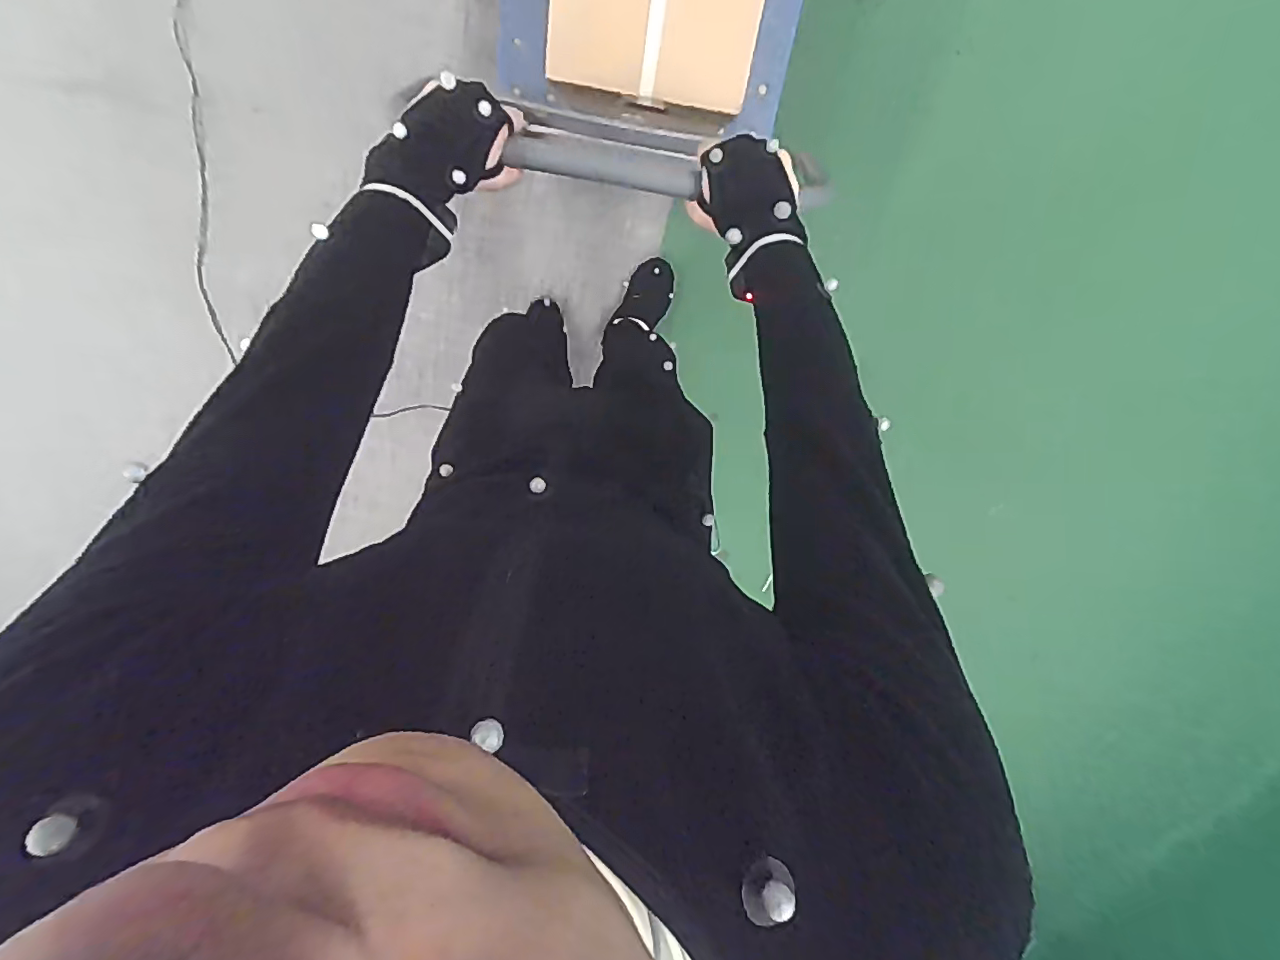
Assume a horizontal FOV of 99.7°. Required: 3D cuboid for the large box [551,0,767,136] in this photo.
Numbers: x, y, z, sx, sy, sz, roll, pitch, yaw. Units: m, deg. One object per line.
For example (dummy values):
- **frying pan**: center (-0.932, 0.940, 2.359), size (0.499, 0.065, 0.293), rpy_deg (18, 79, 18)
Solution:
- **large box**: center (0.043, -0.840, 0.895), size (0.320, 0.320, 0.408), rpy_deg (8, 116, -4)
